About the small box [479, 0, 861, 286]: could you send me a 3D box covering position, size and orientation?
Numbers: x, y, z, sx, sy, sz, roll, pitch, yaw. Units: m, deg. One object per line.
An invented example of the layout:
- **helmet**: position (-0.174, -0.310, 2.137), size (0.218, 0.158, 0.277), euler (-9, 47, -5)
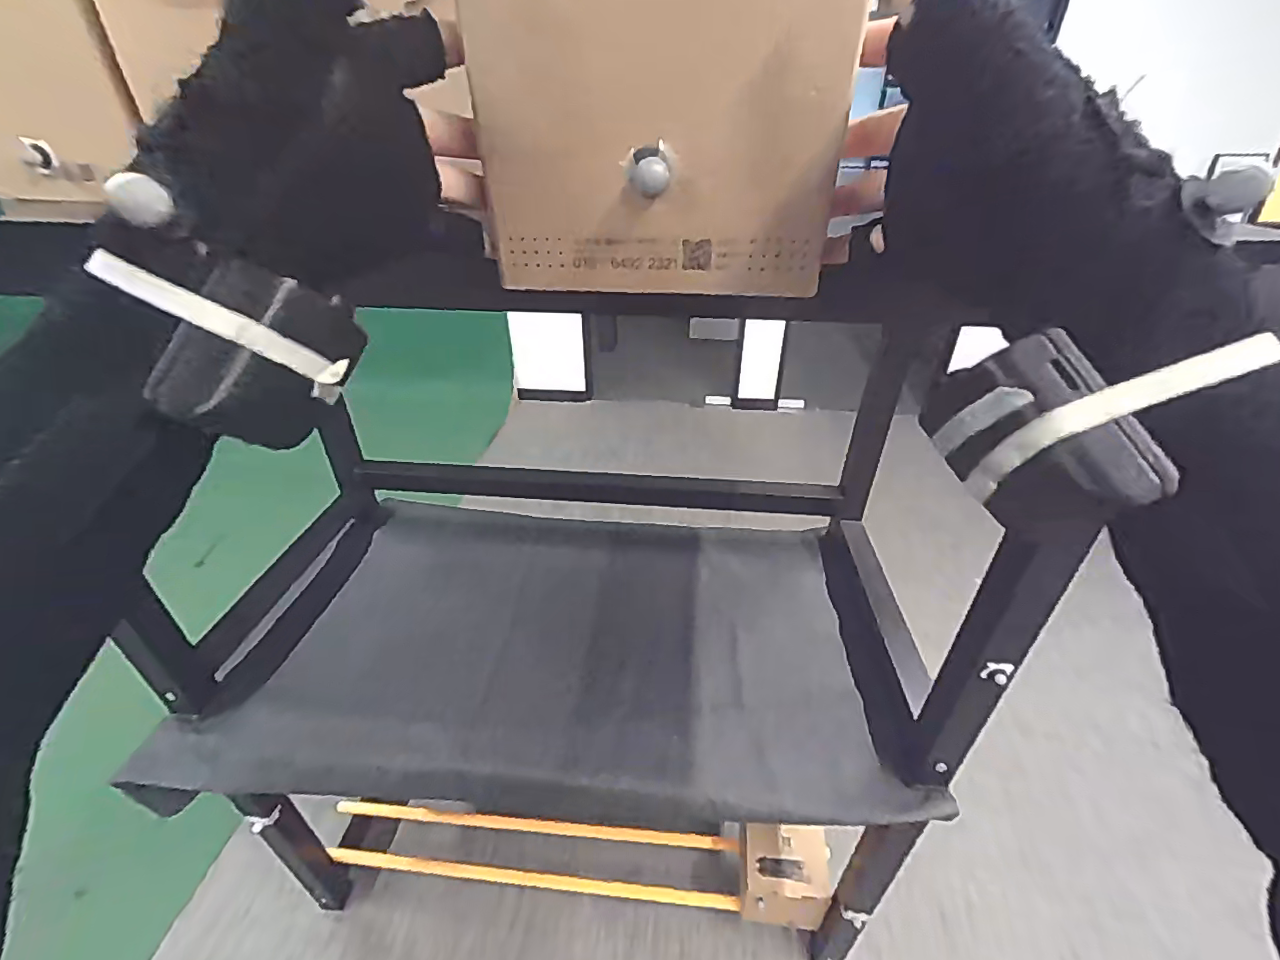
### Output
- **small box**: position (0.017, -0.221, 0.305), size (0.168, 0.176, 0.179), euler (3, 37, 6)
